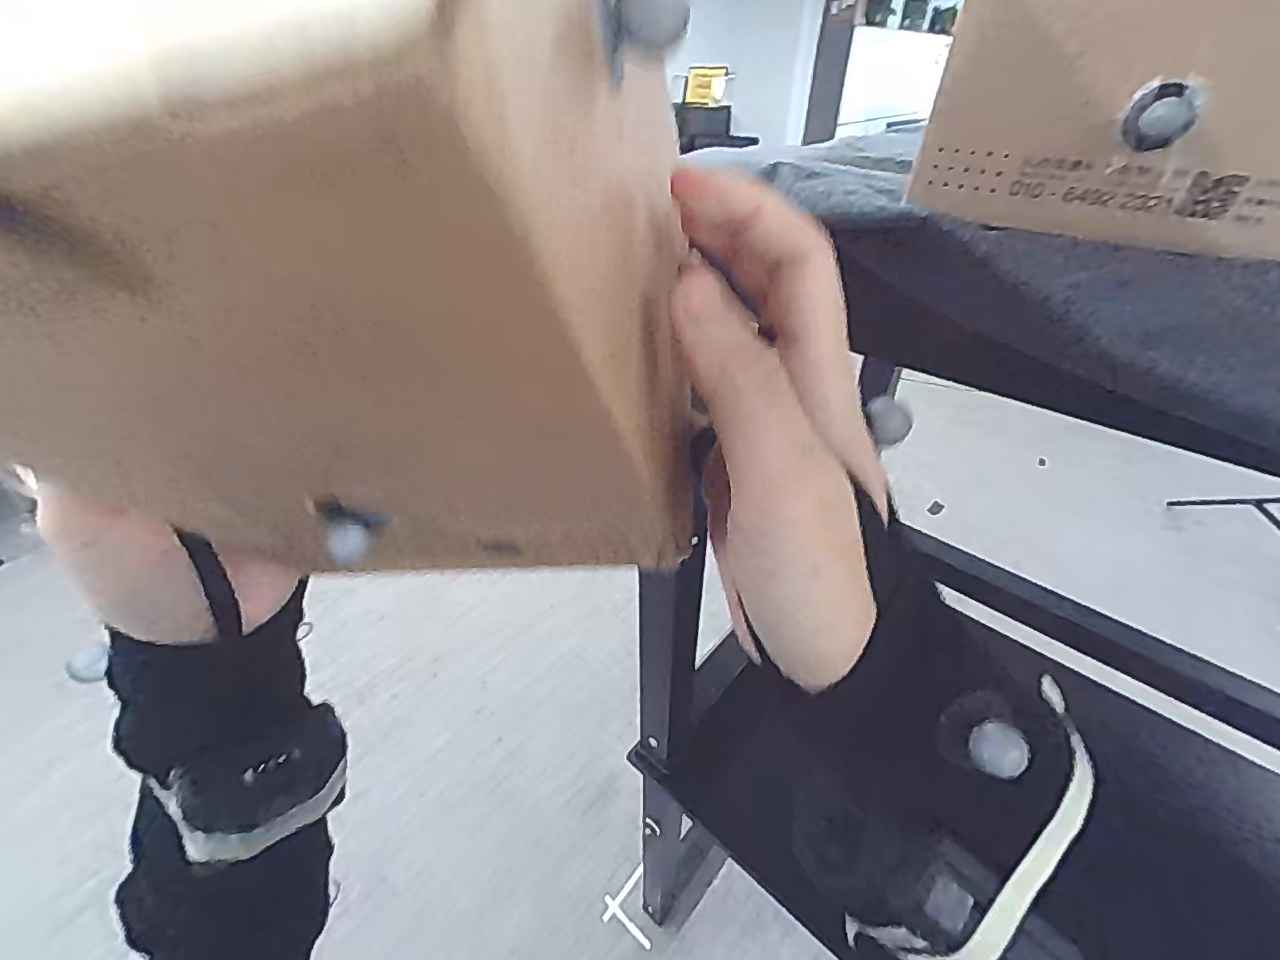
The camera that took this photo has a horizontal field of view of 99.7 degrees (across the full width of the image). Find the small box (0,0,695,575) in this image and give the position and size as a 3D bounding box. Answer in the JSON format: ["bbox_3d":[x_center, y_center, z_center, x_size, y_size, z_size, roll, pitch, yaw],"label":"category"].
[{"bbox_3d":[-0.075,-0.078,0.176,0.168,0.176,0.179,-4,65,12],"label":"small box"}]
